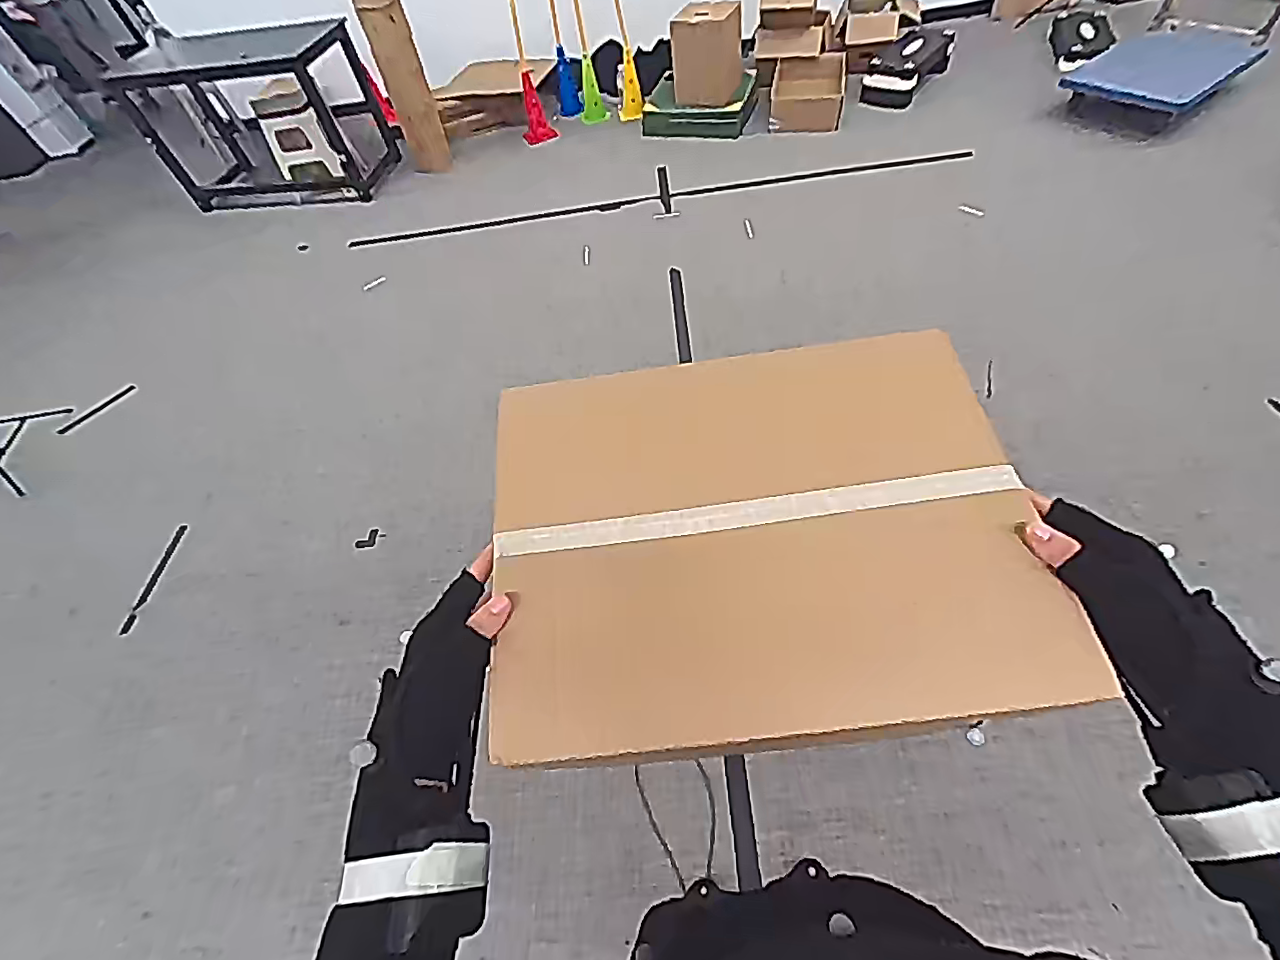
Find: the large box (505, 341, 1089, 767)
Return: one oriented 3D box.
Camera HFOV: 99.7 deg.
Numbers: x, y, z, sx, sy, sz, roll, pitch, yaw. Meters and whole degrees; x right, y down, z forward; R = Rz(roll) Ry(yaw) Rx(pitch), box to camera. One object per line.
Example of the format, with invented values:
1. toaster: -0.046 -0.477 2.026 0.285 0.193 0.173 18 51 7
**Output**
1. large box: 0.105 0.101 0.563 0.408 0.320 0.320 -8 61 3
